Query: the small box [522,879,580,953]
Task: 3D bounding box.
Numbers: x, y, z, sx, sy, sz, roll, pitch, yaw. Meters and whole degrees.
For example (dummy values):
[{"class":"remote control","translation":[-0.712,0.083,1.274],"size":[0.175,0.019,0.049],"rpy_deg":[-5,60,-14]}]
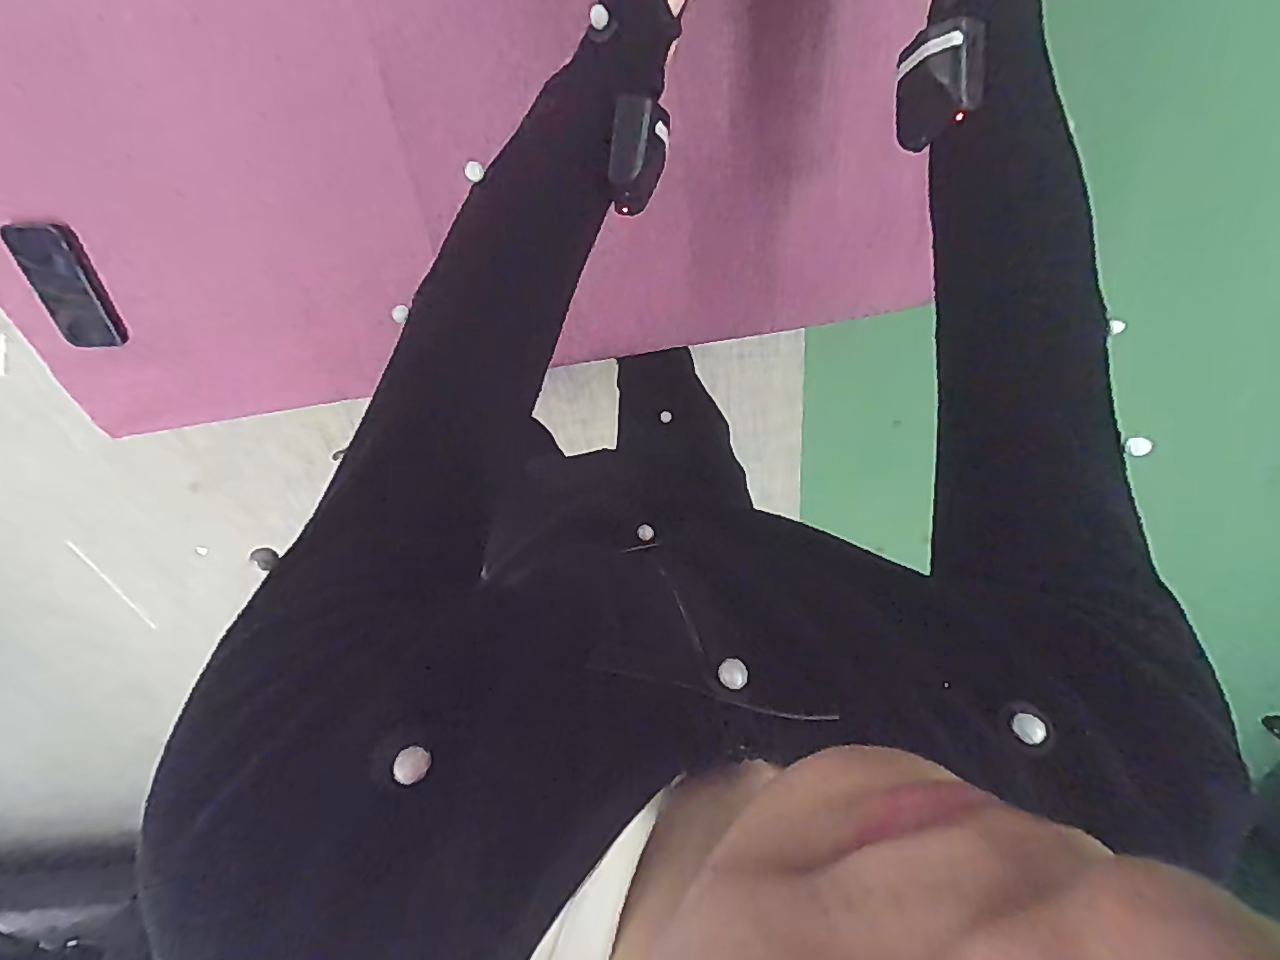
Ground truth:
[{"class":"small box","translation":[-0.316,1.571,1.954],"size":[0.168,0.176,0.179],"rpy_deg":[-5,123,4]}]
